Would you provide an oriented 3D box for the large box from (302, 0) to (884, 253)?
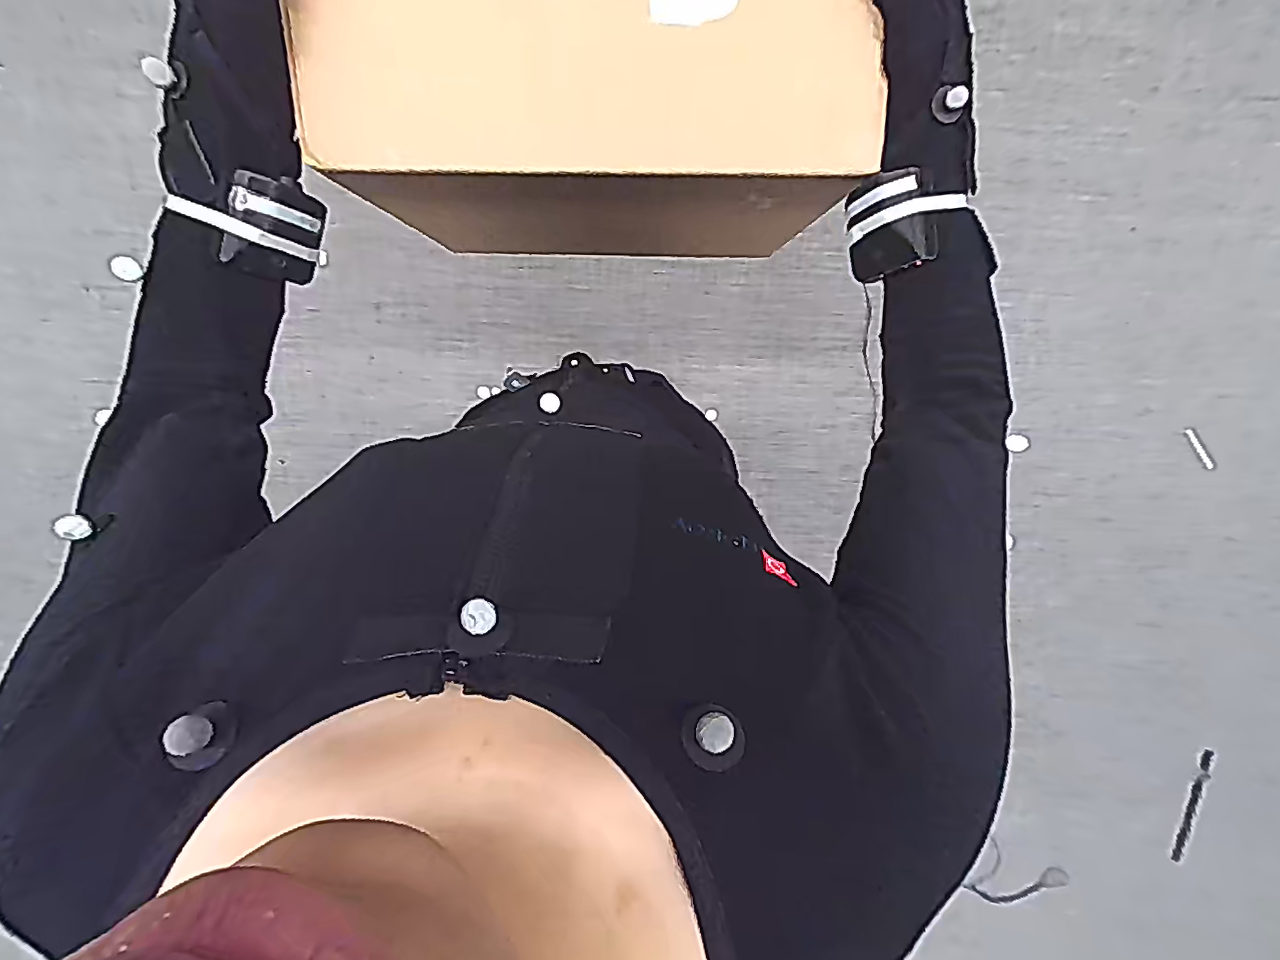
[{"bbox_3d":[-0.034,-0.408,0.503,0.408,0.320,0.320,0,103,-1],"label":"large box"}]
